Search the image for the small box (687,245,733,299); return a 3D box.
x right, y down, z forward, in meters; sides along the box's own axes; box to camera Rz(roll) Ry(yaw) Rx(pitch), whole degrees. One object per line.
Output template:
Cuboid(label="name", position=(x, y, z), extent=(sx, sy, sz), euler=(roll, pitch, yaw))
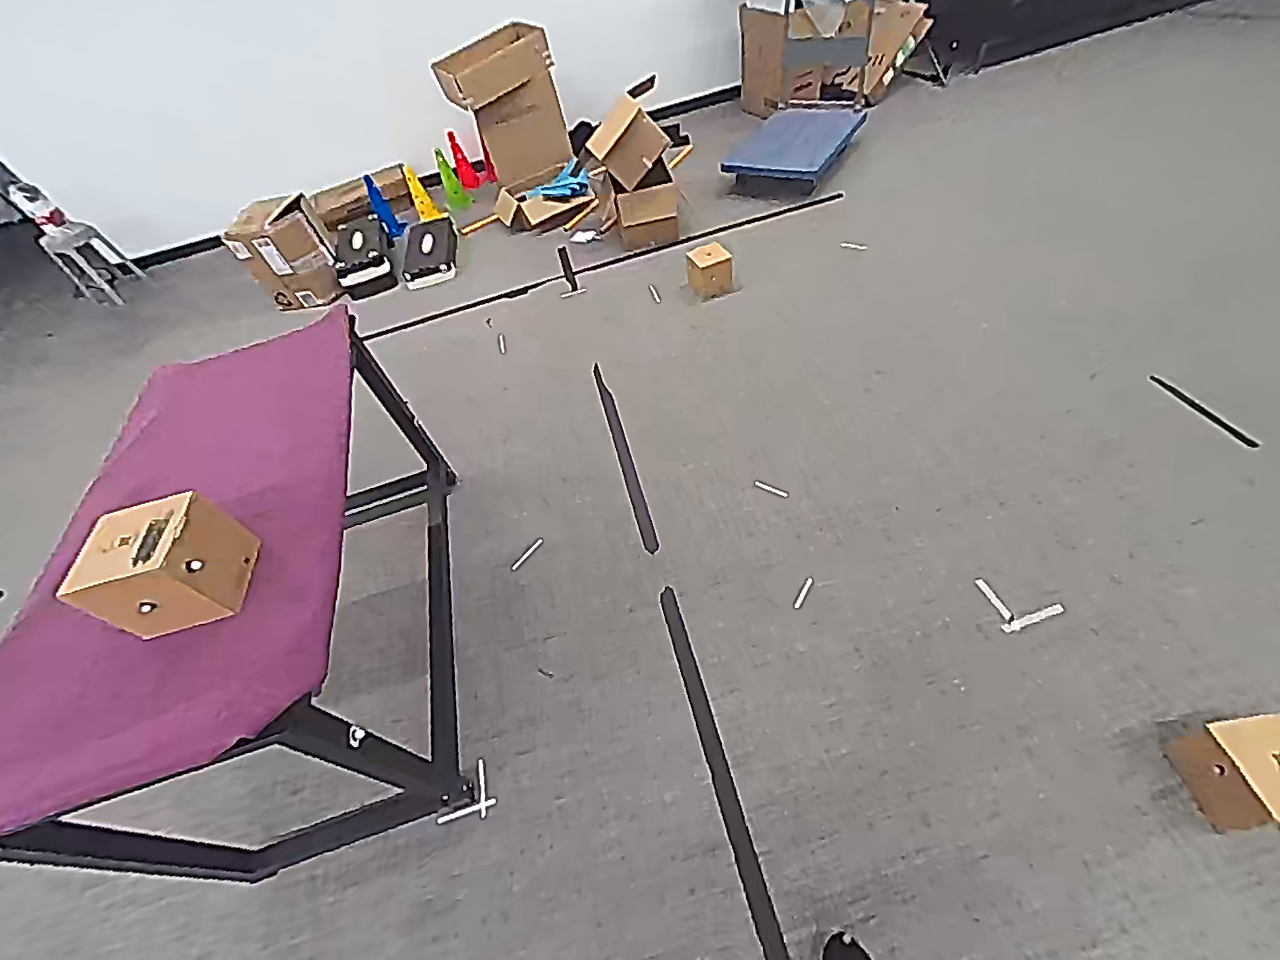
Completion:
Cuboid(label="small box", position=(0.344, -1.003, 2.626), extent=(0.168, 0.176, 0.179), euler=(-23, 49, -6))

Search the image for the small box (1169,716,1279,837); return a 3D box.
Cuboid(label="small box", position=(1.247, 0.599, 1.091), extent=(0.168, 0.176, 0.179), euler=(-11, 50, 5))
